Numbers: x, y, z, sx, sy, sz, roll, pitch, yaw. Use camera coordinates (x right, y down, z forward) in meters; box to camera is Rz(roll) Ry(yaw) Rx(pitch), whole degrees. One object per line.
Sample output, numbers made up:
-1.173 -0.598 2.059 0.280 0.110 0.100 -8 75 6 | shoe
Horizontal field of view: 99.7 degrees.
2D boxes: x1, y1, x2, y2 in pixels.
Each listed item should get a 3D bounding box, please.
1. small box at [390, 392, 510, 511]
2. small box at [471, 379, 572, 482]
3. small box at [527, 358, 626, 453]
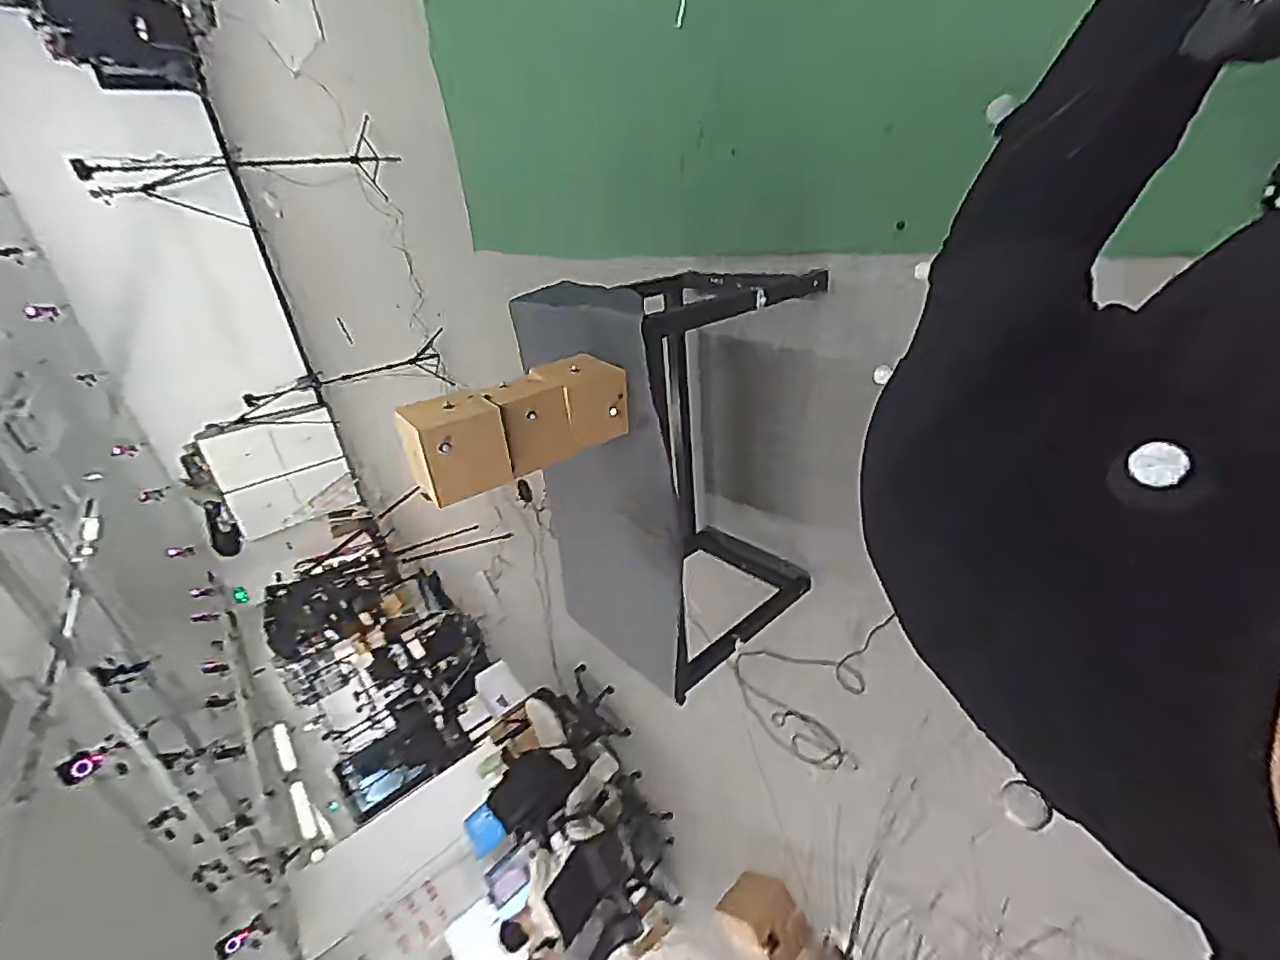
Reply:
-0.392 -0.069 1.130 0.168 0.176 0.179 30 134 45 | small box
-0.276 -0.122 1.238 0.168 0.176 0.179 25 132 49 | small box
-0.151 -0.188 1.318 0.179 0.176 0.168 31 135 42 | small box
